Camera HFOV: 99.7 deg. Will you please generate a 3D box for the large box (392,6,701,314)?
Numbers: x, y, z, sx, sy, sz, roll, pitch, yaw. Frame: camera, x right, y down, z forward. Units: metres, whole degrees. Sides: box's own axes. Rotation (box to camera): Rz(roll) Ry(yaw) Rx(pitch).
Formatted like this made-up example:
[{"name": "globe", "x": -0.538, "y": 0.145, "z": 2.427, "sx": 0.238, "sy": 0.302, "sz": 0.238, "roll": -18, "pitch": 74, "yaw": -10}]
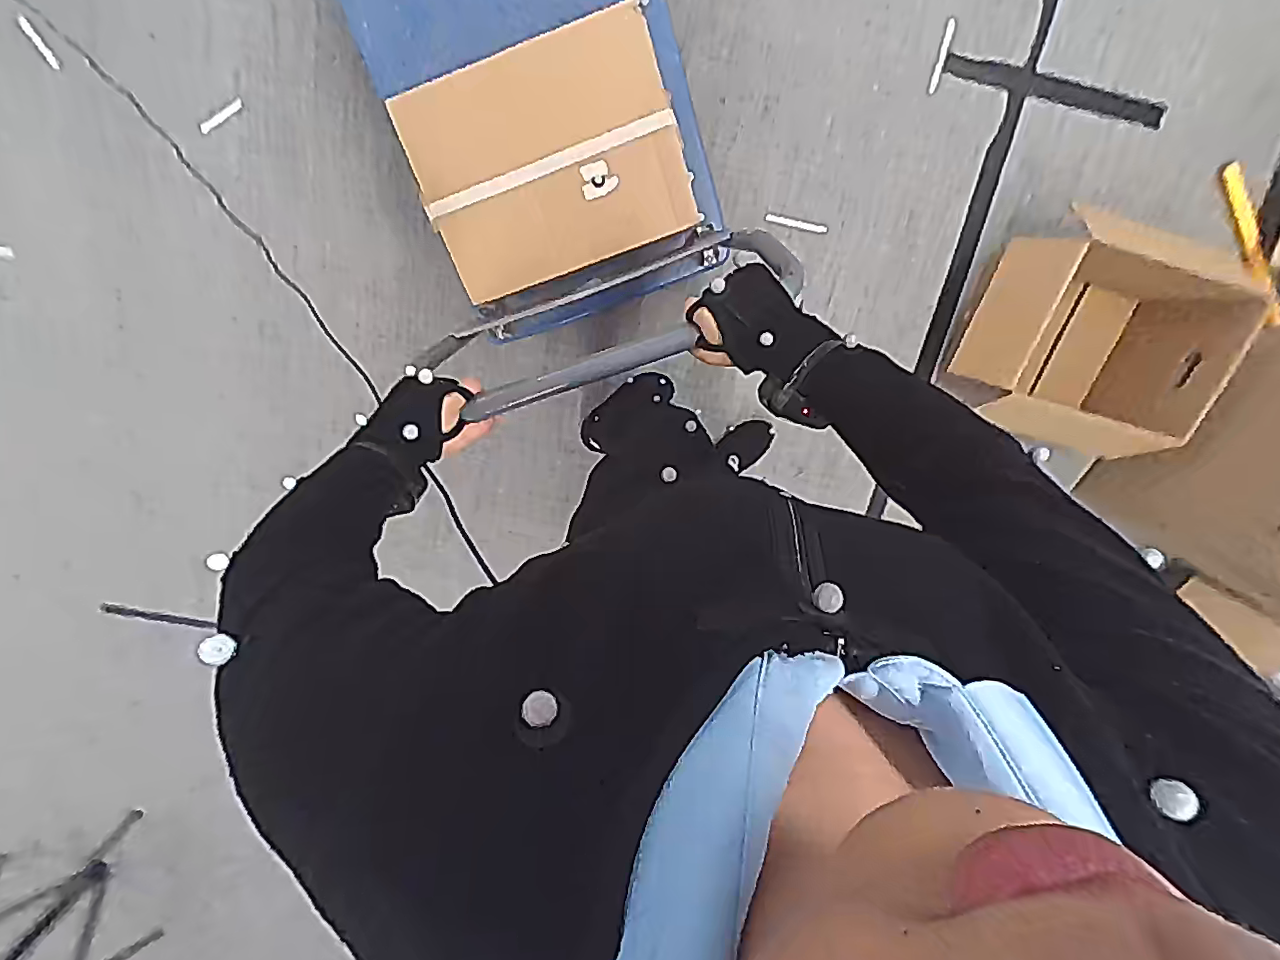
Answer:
[{"name": "large box", "x": -0.141, "y": -0.524, "z": 0.971, "sx": 0.408, "sy": 0.320, "sz": 0.320, "roll": -18, "pitch": 111, "yaw": 5}]
